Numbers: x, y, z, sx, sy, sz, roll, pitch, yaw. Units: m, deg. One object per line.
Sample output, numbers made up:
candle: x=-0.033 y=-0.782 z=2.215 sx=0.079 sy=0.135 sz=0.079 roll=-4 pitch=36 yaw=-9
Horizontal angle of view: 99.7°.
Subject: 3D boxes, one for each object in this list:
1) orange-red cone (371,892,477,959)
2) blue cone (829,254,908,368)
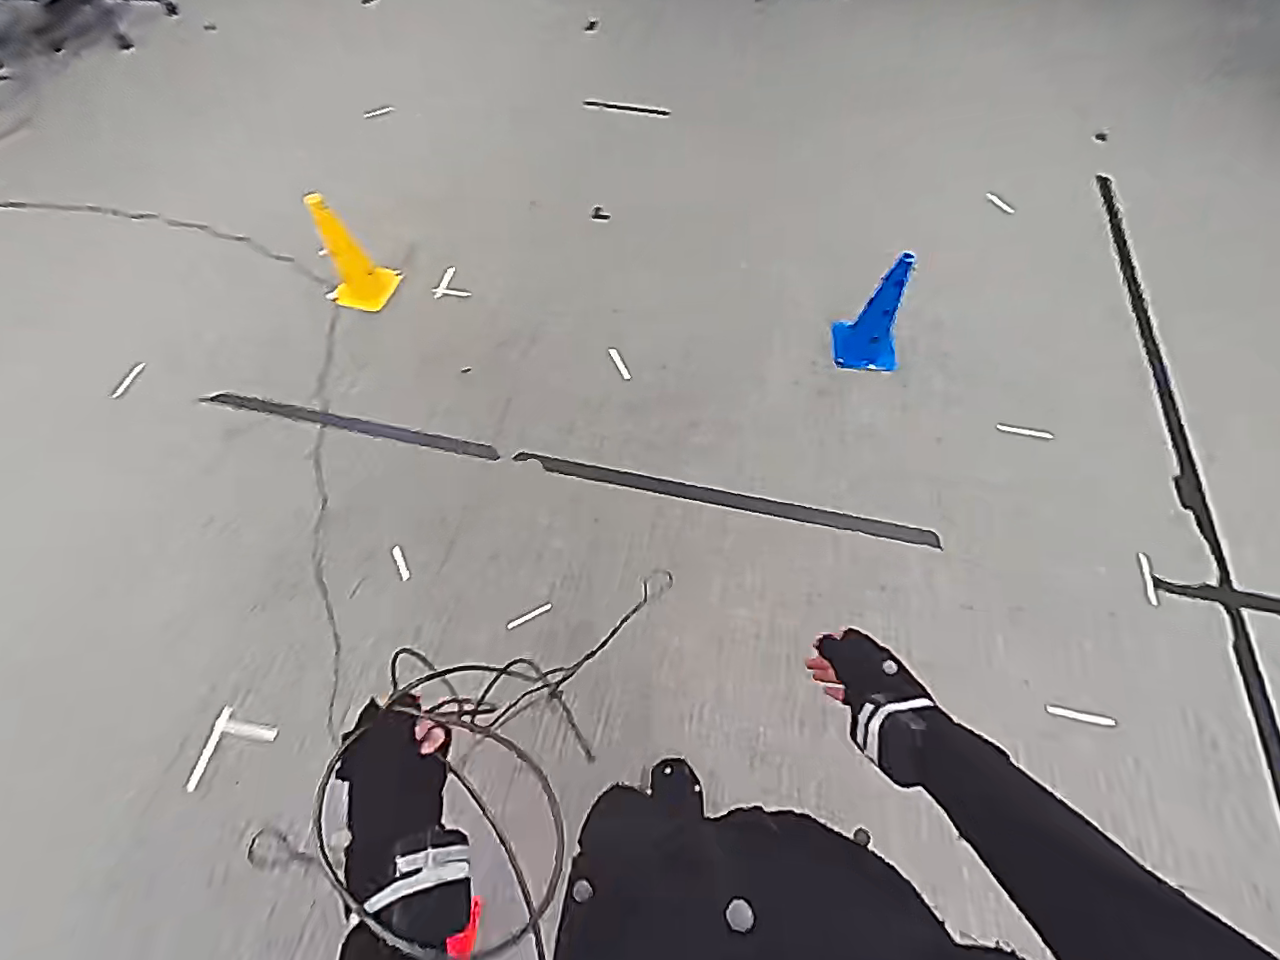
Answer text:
orange-red cone: x=-0.444 y=0.885 z=0.937 sx=0.199 sy=0.360 sz=0.198 roll=7 pitch=64 yaw=3
blue cone: x=0.717 y=-0.526 z=1.638 sx=0.193 sy=0.380 sz=0.192 roll=5 pitch=63 yaw=4
